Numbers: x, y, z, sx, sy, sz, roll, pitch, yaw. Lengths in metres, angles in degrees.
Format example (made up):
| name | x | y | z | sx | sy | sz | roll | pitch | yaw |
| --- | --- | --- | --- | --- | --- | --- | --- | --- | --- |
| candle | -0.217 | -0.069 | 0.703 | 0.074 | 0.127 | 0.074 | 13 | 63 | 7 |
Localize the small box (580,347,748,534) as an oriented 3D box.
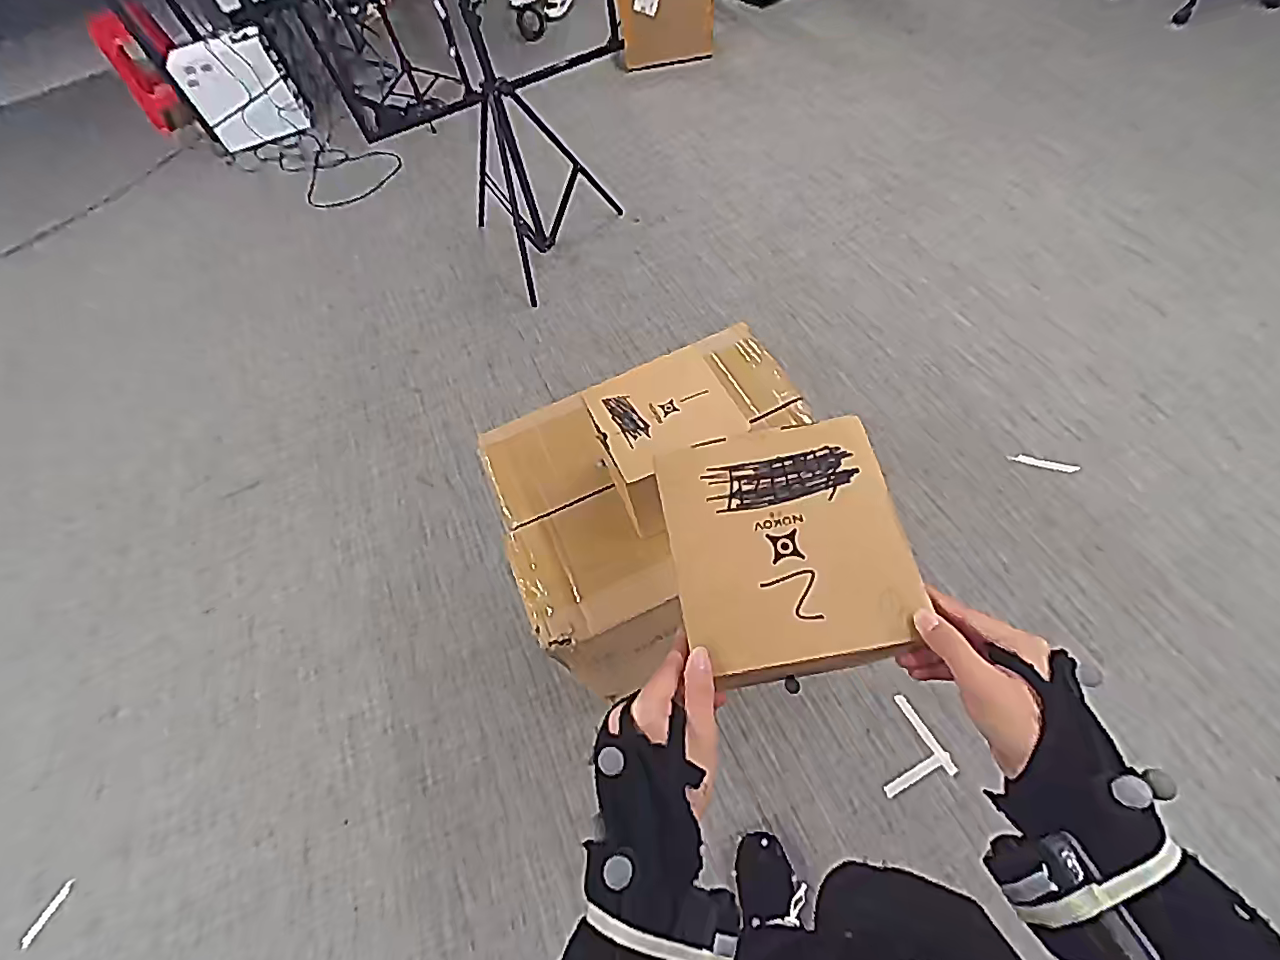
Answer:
| name | x | y | z | sx | sy | sz | roll | pitch | yaw |
| --- | --- | --- | --- | --- | --- | --- | --- | --- | --- |
| small box | 0.038 | -0.049 | 0.770 | 0.179 | 0.176 | 0.168 | -24 | 60 | -6 |
